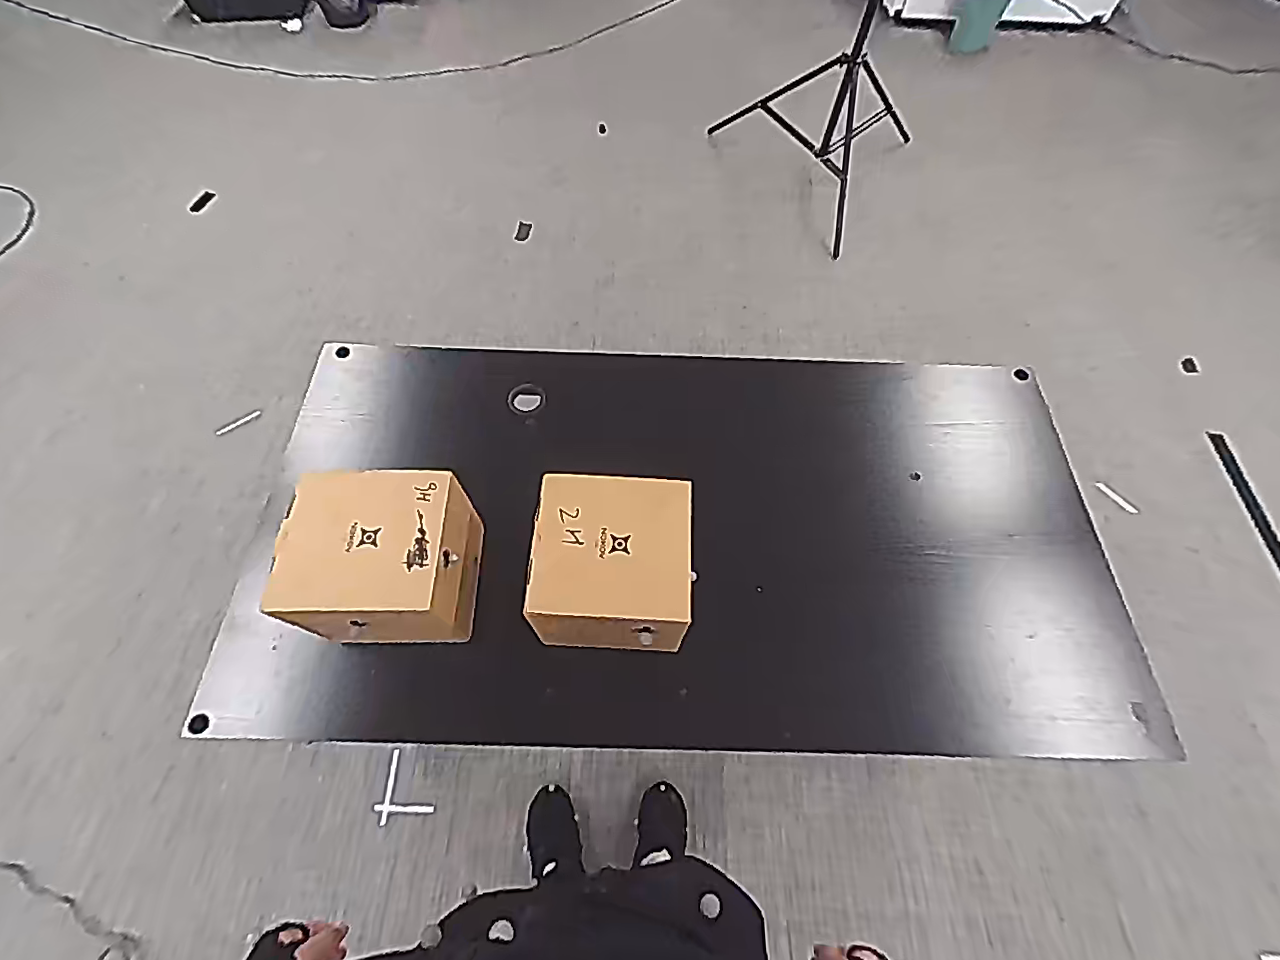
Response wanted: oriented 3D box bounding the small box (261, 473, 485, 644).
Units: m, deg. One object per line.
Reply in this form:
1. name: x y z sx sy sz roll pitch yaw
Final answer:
1. small box: -0.306 0.103 0.664 0.179 0.176 0.168 -1 63 -1

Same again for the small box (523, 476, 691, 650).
1. small box: -0.033 0.109 0.666 0.179 0.176 0.168 3 62 0
